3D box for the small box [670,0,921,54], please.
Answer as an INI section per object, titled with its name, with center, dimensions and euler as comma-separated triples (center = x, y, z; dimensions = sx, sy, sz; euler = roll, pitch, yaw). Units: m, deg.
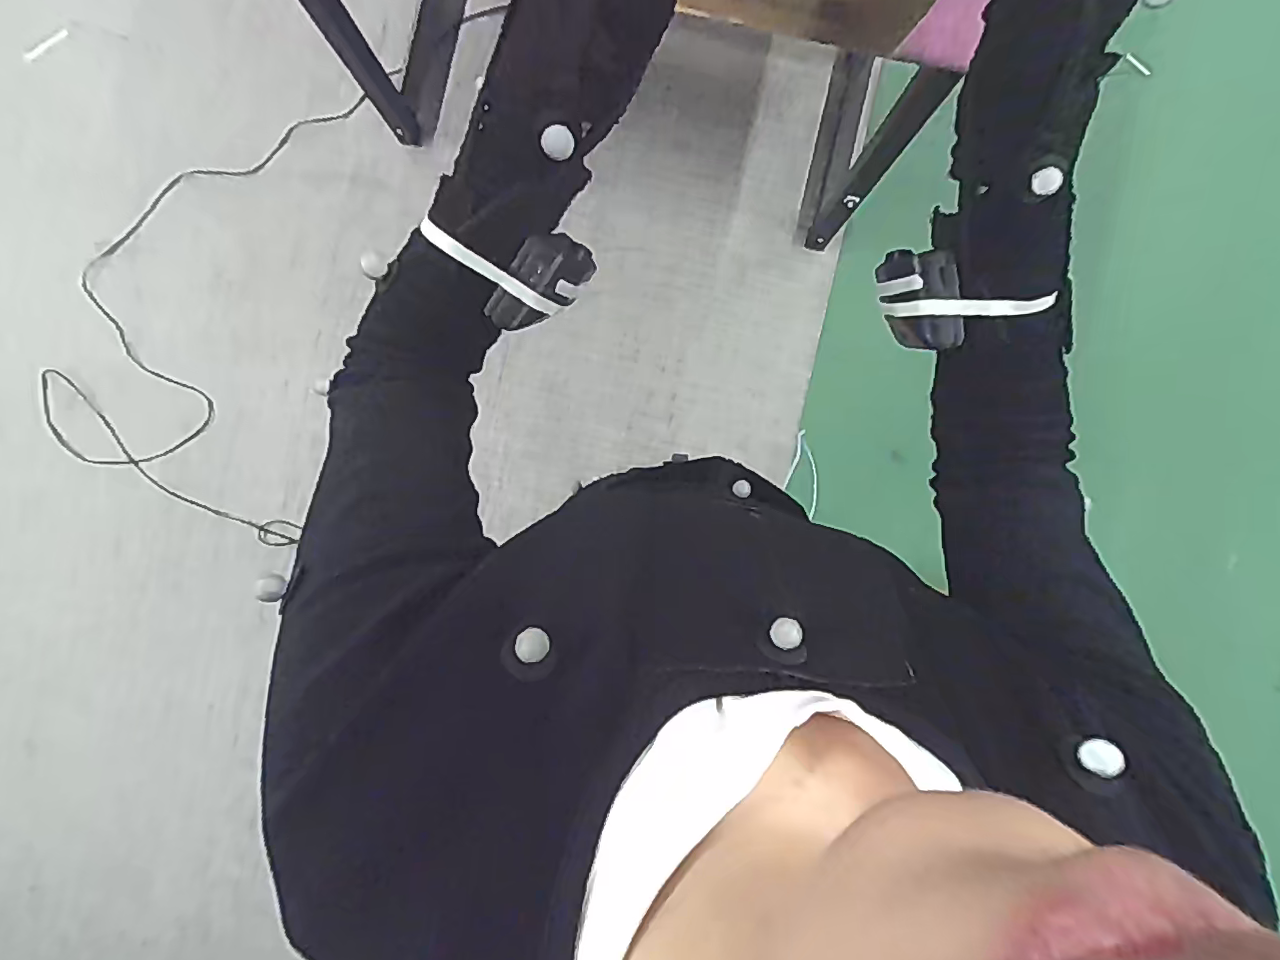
[small box]
center = 0.103, -0.376, 0.273
dimensions = 0.168, 0.176, 0.179
euler = 3, 92, -9
